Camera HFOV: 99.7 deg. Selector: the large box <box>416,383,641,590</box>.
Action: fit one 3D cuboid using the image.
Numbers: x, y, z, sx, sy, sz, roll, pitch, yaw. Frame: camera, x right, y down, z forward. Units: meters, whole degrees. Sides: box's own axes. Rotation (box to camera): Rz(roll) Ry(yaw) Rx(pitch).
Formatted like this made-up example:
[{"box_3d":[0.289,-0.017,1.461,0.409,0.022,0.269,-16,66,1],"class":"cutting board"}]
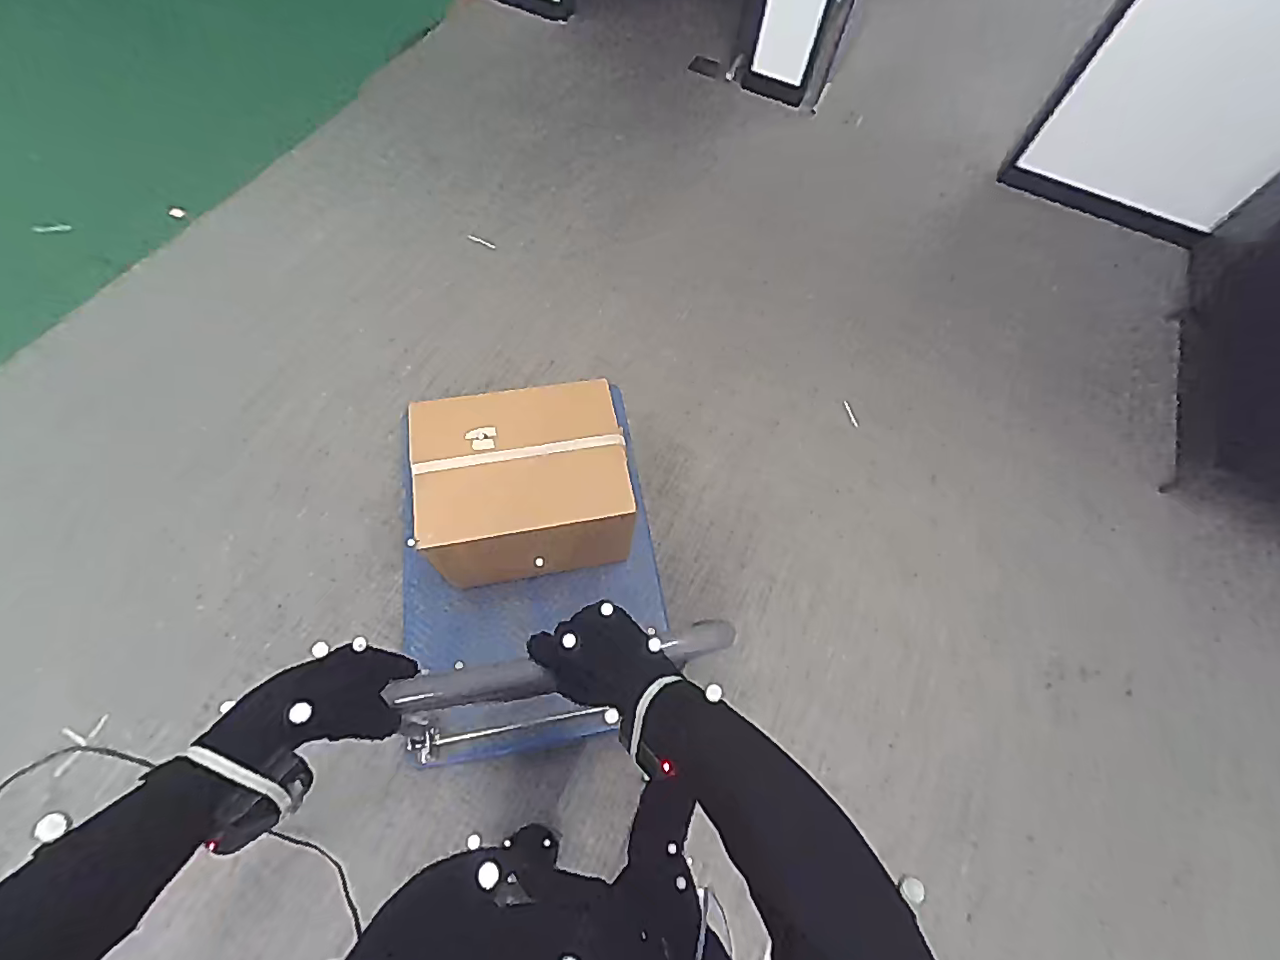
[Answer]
[{"box_3d":[-0.233,0.025,1.192,0.408,0.320,0.320,-10,65,-9],"class":"large box"}]
